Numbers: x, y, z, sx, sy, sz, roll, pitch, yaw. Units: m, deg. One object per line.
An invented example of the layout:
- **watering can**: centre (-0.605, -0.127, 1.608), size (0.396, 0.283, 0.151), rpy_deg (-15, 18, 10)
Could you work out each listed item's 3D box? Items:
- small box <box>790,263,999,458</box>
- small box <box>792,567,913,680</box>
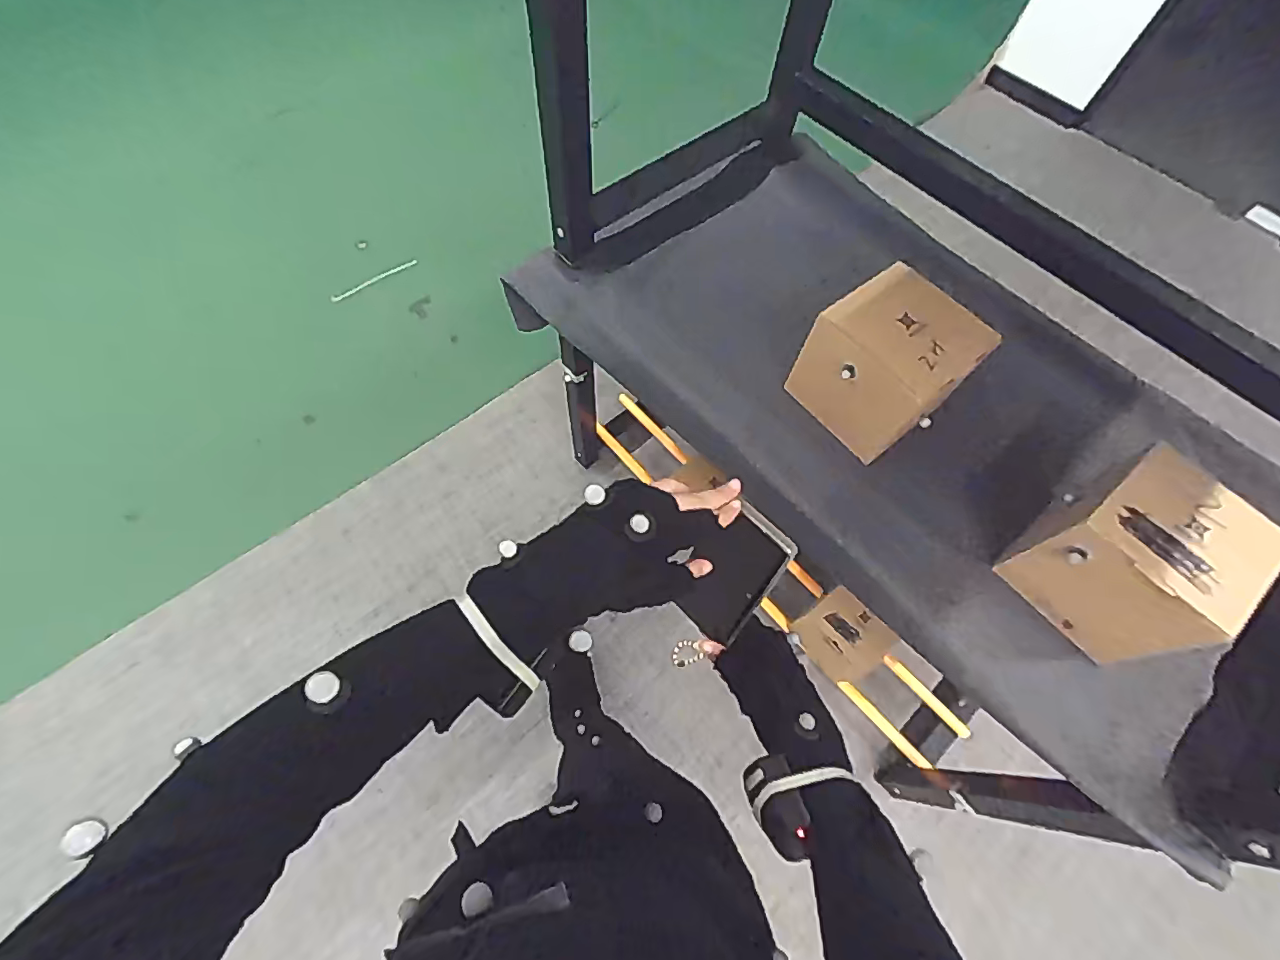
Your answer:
- **small box**: centre (0.346, -0.164, 0.773), size (0.168, 0.176, 0.179), rpy_deg (-35, 71, -18)
- **small box**: centre (0.469, 0.333, 1.232), size (0.179, 0.176, 0.168), rpy_deg (-35, 71, -18)
